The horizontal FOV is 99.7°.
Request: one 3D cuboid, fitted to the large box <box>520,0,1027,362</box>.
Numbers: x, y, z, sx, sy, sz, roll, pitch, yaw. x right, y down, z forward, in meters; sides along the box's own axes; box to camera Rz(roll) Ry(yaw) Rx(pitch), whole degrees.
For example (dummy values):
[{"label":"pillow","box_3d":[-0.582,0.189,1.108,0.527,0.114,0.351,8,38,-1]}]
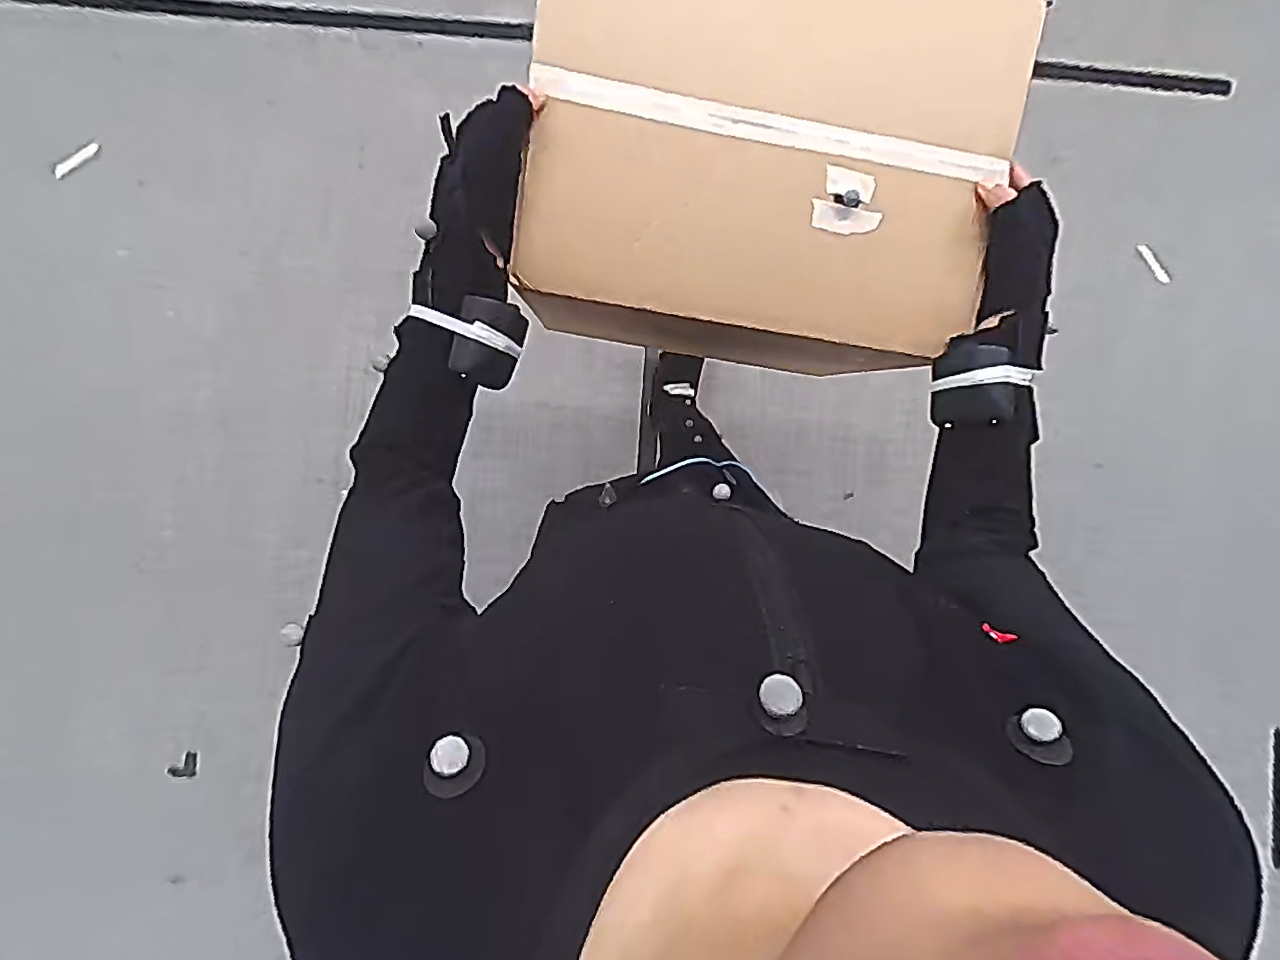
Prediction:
[{"label":"large box","box_3d":[0.099,-0.322,0.604,0.408,0.320,0.320,8,99,-6]}]
